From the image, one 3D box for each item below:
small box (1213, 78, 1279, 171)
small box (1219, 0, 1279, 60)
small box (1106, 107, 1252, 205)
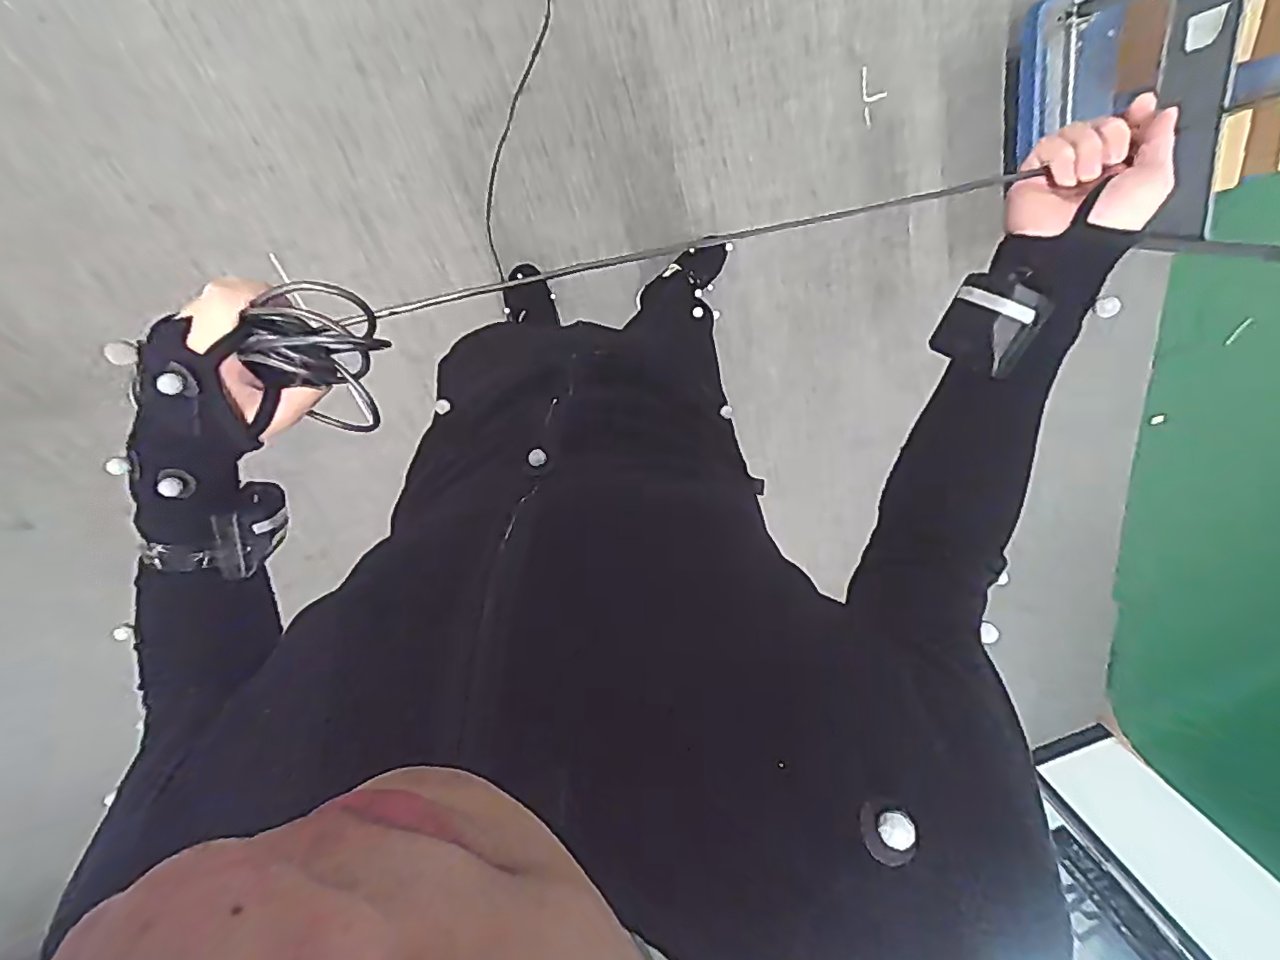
[{"bbox_3d":[1.567,-0.882,1.334,0.179,0.176,0.168,-23,118,2],"label":"small box"},{"bbox_3d":[1.477,-1.085,1.215,0.179,0.176,0.168,-23,119,1],"label":"small box"},{"bbox_3d":[1.312,-0.791,1.330,0.179,0.176,0.168,-19,118,-1],"label":"small box"}]
